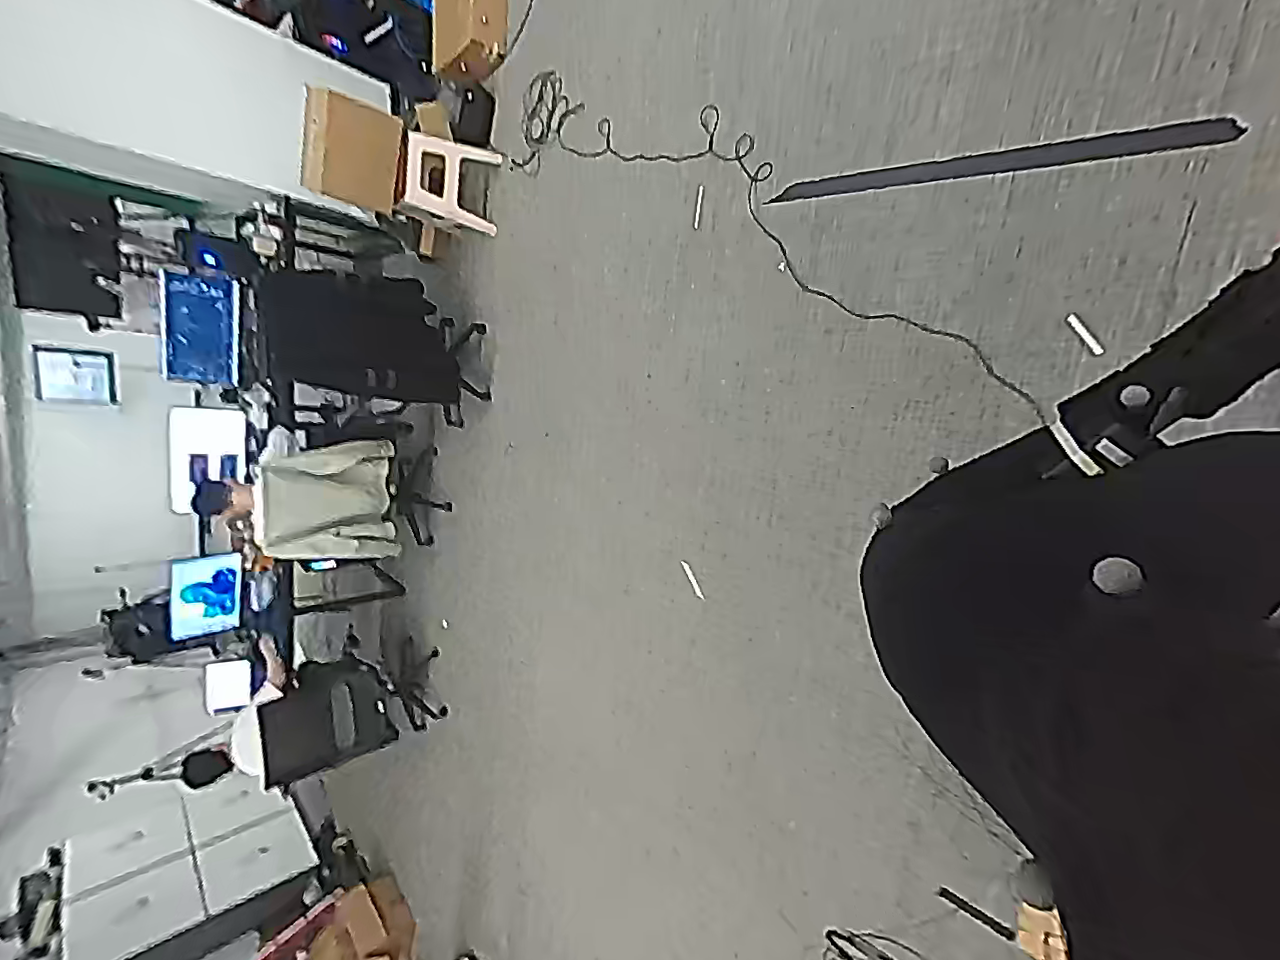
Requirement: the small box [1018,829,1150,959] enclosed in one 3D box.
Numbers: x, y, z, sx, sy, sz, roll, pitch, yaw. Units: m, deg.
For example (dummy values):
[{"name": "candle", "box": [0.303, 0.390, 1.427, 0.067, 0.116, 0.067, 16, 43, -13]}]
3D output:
[{"name": "small box", "box": [0.850, 0.822, 1.034, 0.168, 0.176, 0.179, 11, 102, 45]}]
